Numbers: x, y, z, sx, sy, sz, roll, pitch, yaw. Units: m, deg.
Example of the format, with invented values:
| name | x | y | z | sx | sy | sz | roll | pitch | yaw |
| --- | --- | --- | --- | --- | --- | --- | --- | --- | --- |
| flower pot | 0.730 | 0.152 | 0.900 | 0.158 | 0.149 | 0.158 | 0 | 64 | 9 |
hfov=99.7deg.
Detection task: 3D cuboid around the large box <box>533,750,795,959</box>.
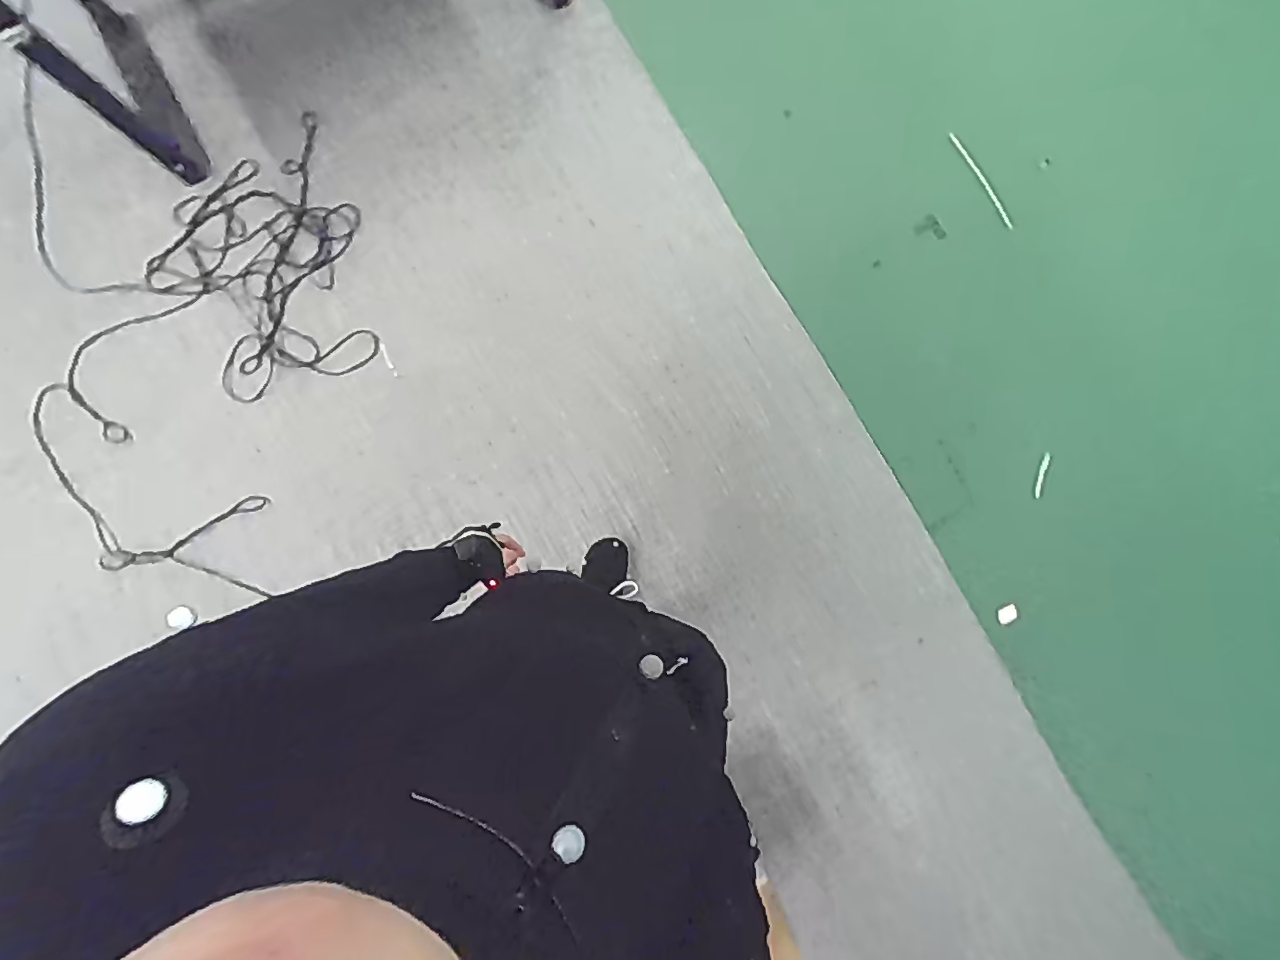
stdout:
| name | x | y | z | sx | sy | sz | roll | pitch | yaw |
| --- | --- | --- | --- | --- | --- | --- | --- | --- | --- |
| large box | 0.045 | 0.863 | 1.144 | 0.408 | 0.320 | 0.320 | -30 | 84 | -3 |
